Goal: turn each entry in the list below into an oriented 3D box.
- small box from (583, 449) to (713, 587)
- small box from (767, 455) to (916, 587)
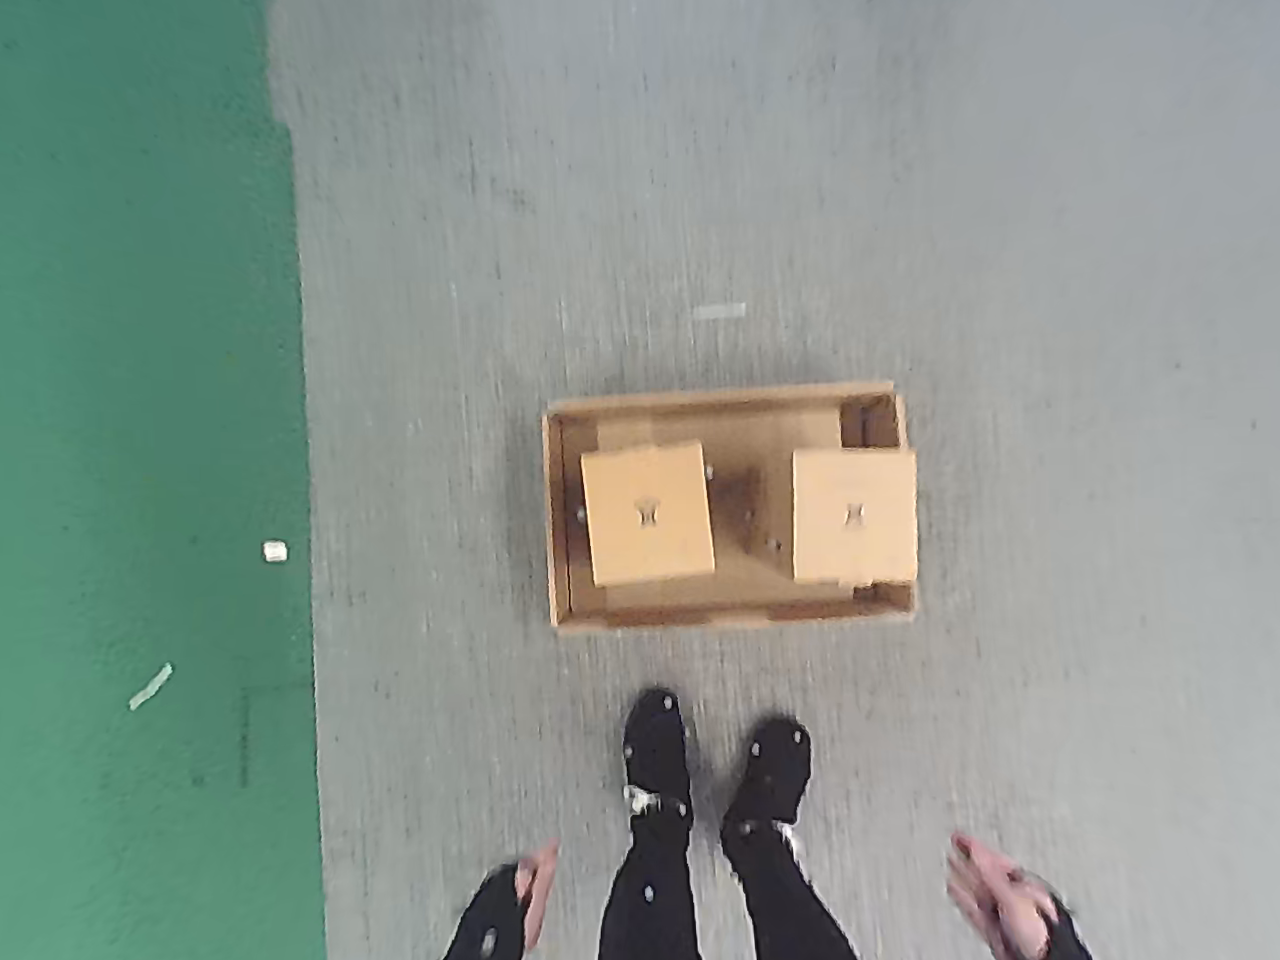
[{"bbox_3d":[0.014,0.055,0.814,0.168,0.176,0.179,-7,86,1],"label":"small box"},{"bbox_3d":[0.288,0.058,0.802,0.168,0.176,0.179,1,87,1],"label":"small box"}]
